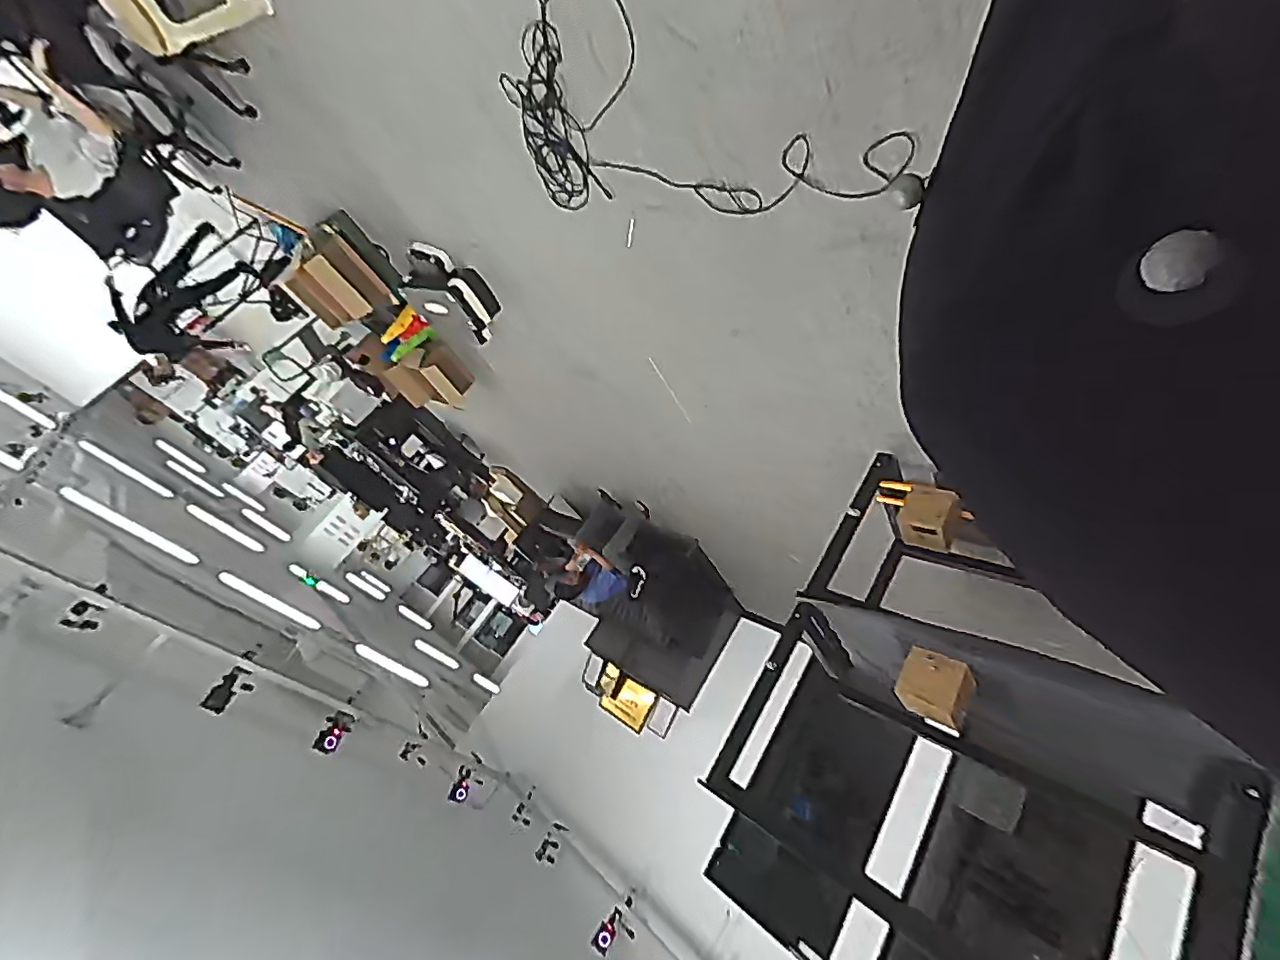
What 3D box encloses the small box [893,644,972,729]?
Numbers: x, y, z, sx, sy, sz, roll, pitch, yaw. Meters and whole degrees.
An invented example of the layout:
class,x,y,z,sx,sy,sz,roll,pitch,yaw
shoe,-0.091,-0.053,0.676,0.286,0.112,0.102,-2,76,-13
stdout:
class,x,y,z,sx,sy,sz,roll,pitch,yaw
small box,0.943,0.657,1.732,0.168,0.176,0.179,11,150,47
